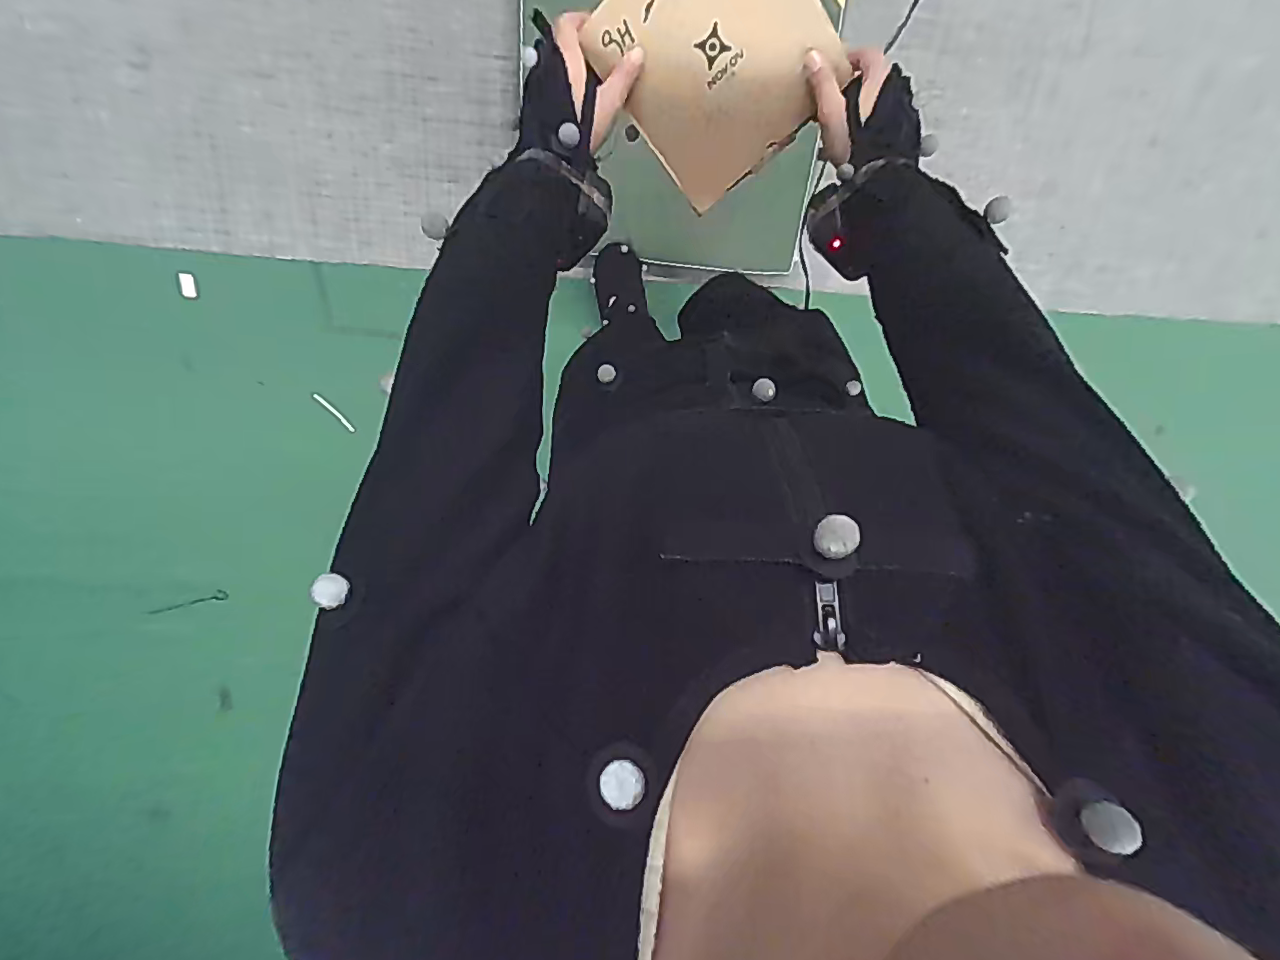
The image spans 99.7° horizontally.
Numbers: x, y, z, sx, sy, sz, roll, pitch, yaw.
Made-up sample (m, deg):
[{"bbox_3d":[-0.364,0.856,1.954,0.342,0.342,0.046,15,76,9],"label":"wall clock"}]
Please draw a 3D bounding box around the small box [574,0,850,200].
[{"bbox_3d":[0.060,-0.404,0.502,0.168,0.176,0.179,-34,121,20],"label":"small box"}]
